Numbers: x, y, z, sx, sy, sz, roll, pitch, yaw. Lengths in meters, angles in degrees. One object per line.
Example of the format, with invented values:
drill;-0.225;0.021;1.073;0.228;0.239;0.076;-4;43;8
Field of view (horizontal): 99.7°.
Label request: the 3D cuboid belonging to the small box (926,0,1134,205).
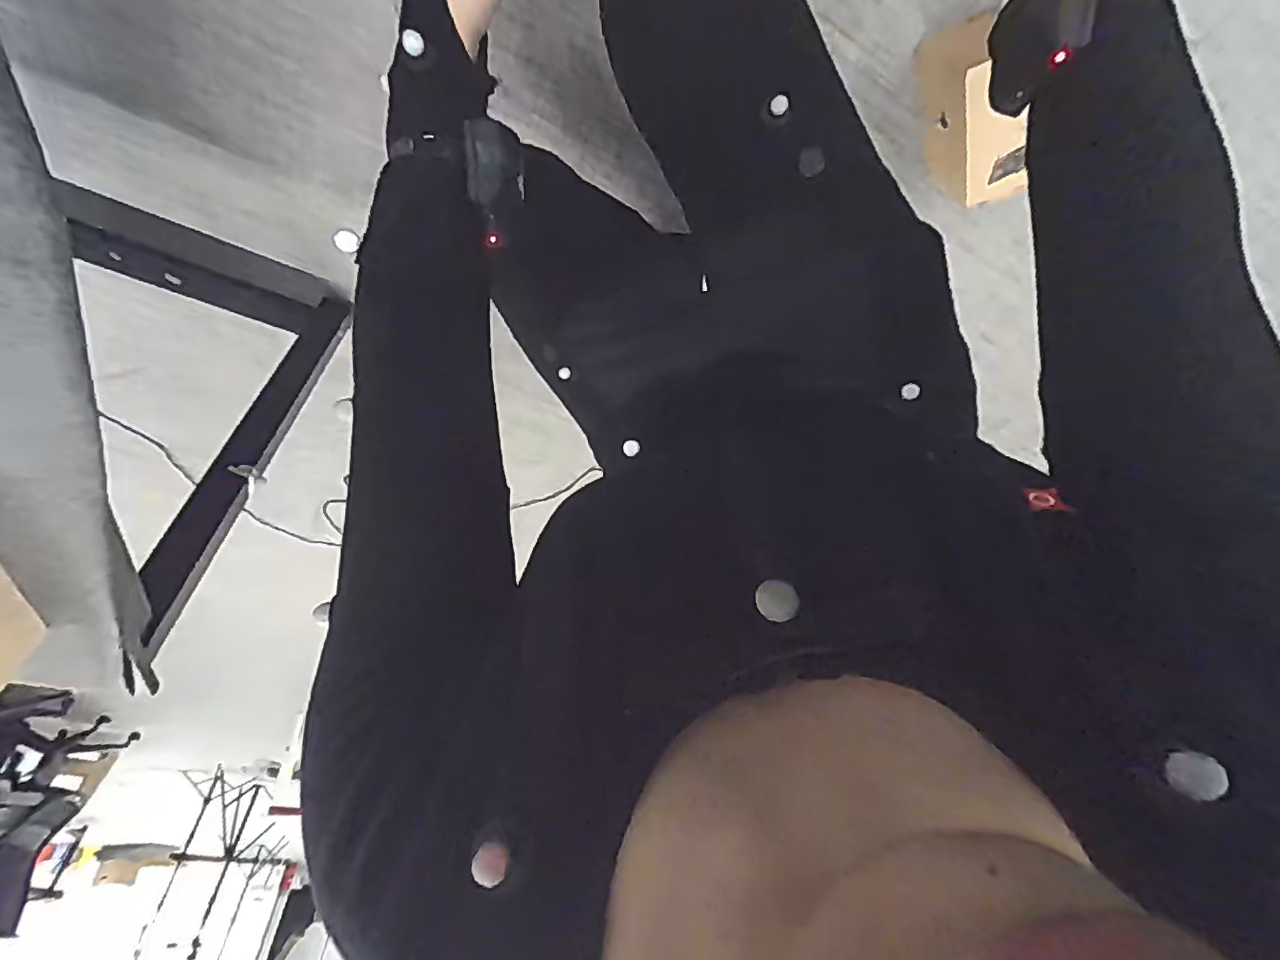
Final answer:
small box;0.498;-0.515;0.721;0.168;0.176;0.179;-16;137;19
